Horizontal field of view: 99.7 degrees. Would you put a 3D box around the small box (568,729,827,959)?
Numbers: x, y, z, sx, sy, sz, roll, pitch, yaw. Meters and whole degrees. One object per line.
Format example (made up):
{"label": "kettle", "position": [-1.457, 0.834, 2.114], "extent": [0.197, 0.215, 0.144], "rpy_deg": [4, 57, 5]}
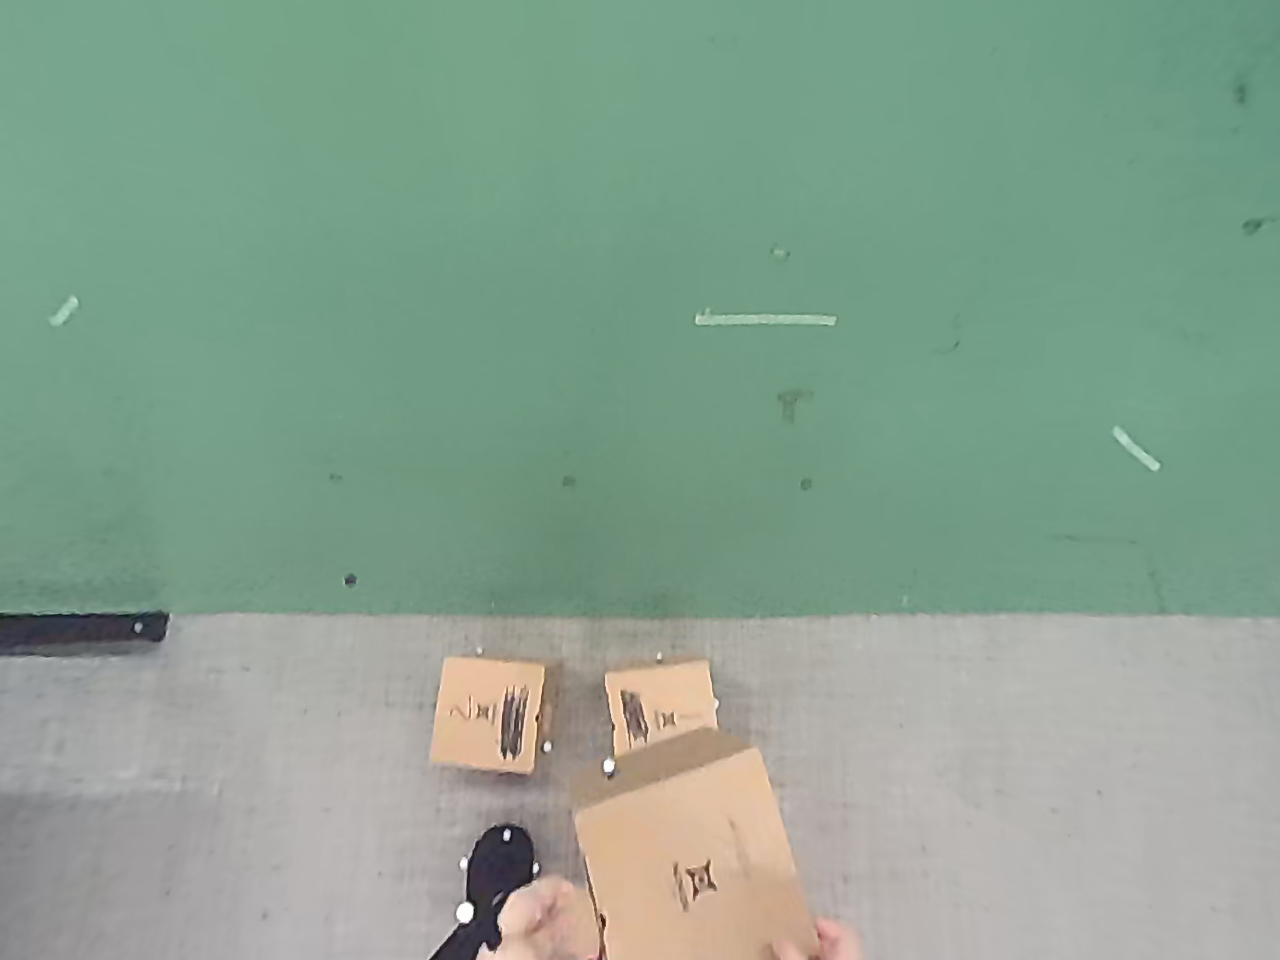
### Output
{"label": "small box", "position": [0.034, 0.352, 0.506], "extent": [0.179, 0.176, 0.168], "rpy_deg": [-13, 75, -14]}

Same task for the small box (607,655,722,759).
{"label": "small box", "position": [0.043, 0.404, 0.942], "extent": [0.179, 0.176, 0.168], "rpy_deg": [-7, 77, -1]}
